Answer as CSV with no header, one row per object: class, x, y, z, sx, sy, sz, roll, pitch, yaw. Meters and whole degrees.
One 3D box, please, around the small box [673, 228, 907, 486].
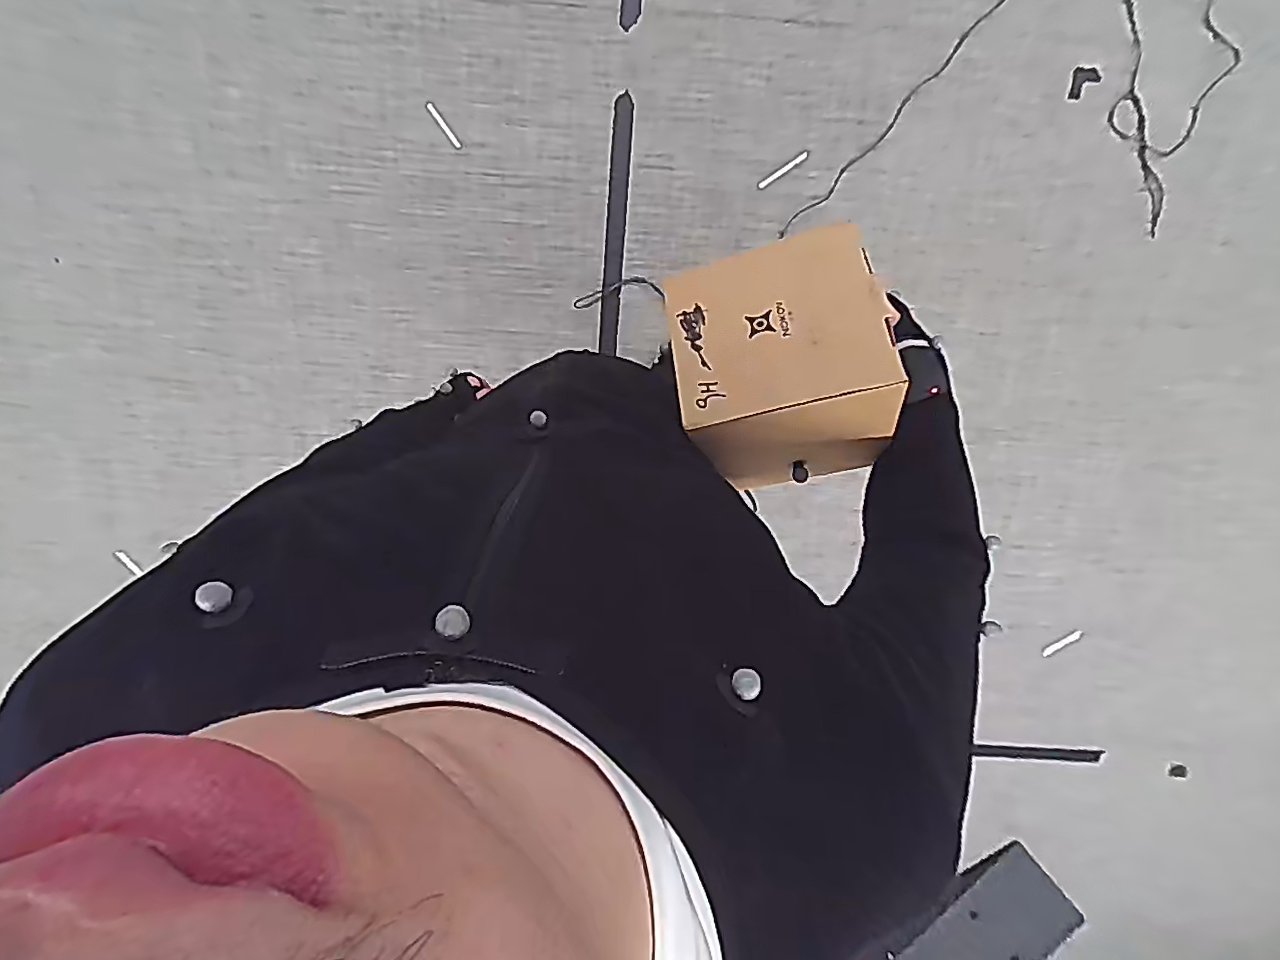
small box,0.142,-0.107,0.542,0.179,0.176,0.168,-11,66,14
